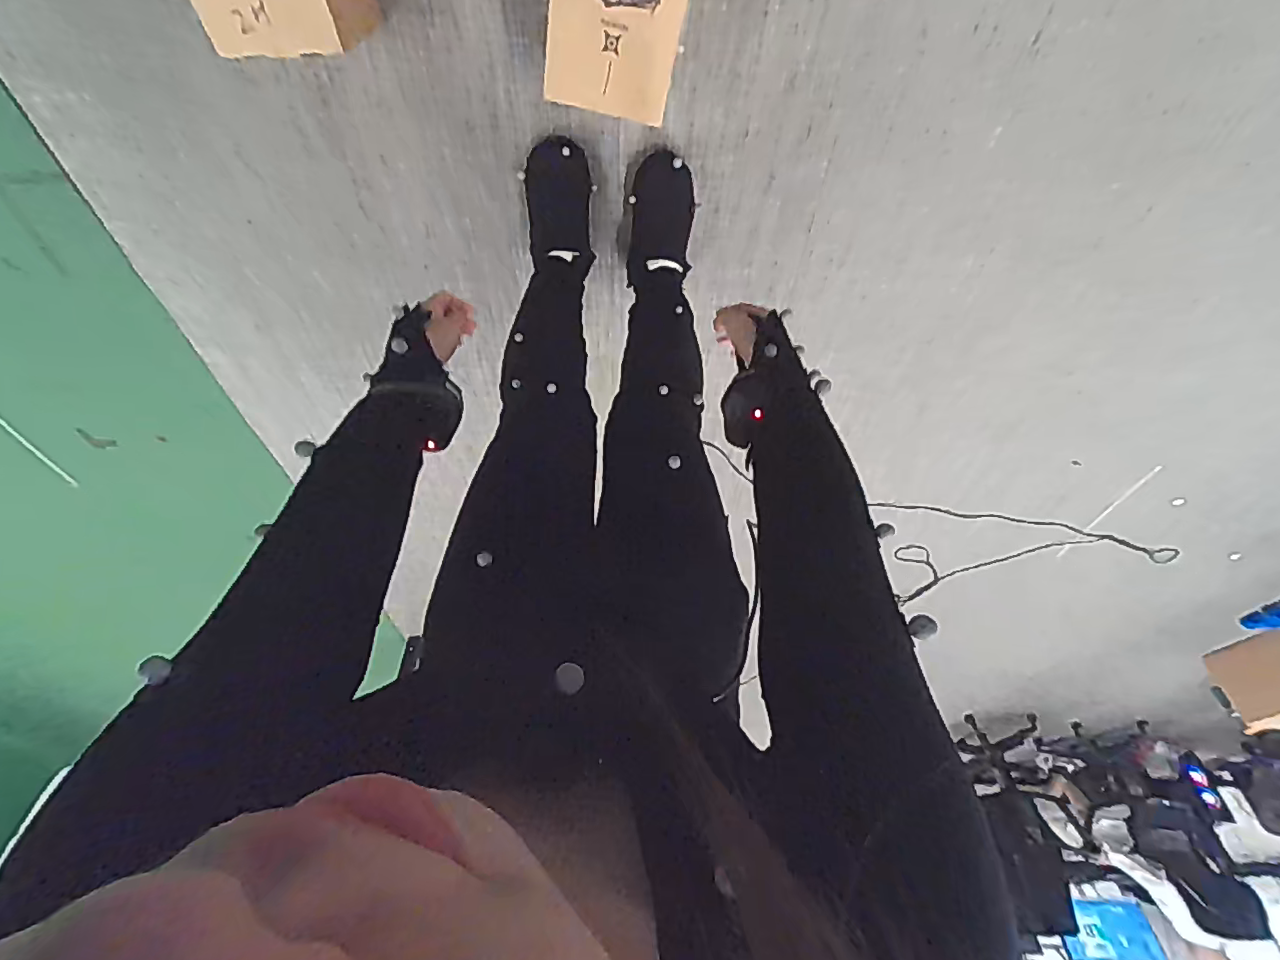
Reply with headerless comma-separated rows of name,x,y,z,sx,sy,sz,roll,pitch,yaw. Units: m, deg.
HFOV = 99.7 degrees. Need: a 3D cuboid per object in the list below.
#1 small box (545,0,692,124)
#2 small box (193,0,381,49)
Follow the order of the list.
small box,-0.028,-0.615,0.714,0.168,0.176,0.179,9,140,-9
small box,-0.451,-0.660,0.665,0.168,0.176,0.179,-1,140,1
